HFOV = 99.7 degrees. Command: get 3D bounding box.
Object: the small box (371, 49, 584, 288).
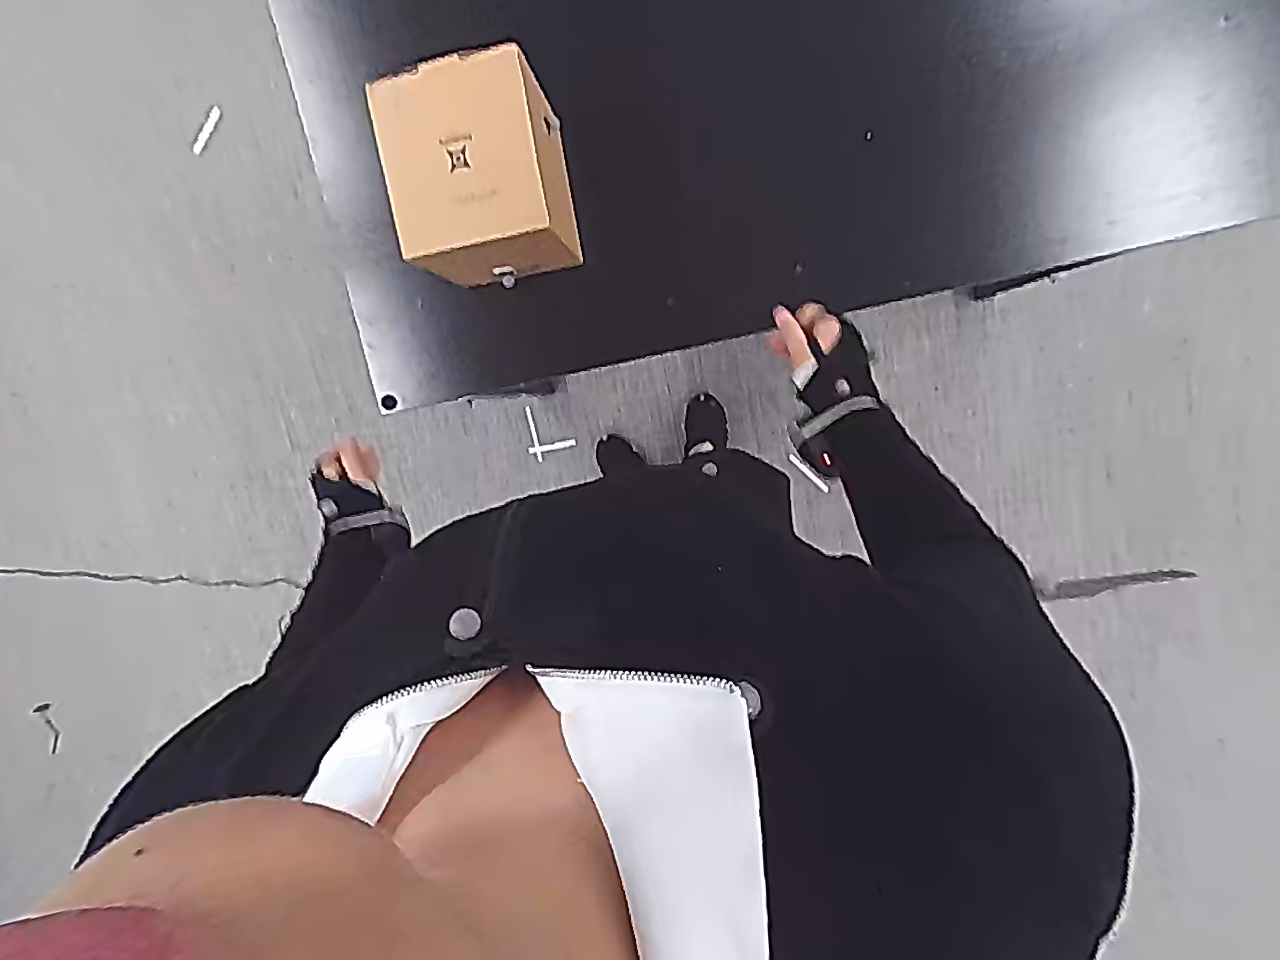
[{"bbox_3d":[-0.173,-0.341,0.631,0.168,0.176,0.179,-9,99,8],"label":"small box"}]
